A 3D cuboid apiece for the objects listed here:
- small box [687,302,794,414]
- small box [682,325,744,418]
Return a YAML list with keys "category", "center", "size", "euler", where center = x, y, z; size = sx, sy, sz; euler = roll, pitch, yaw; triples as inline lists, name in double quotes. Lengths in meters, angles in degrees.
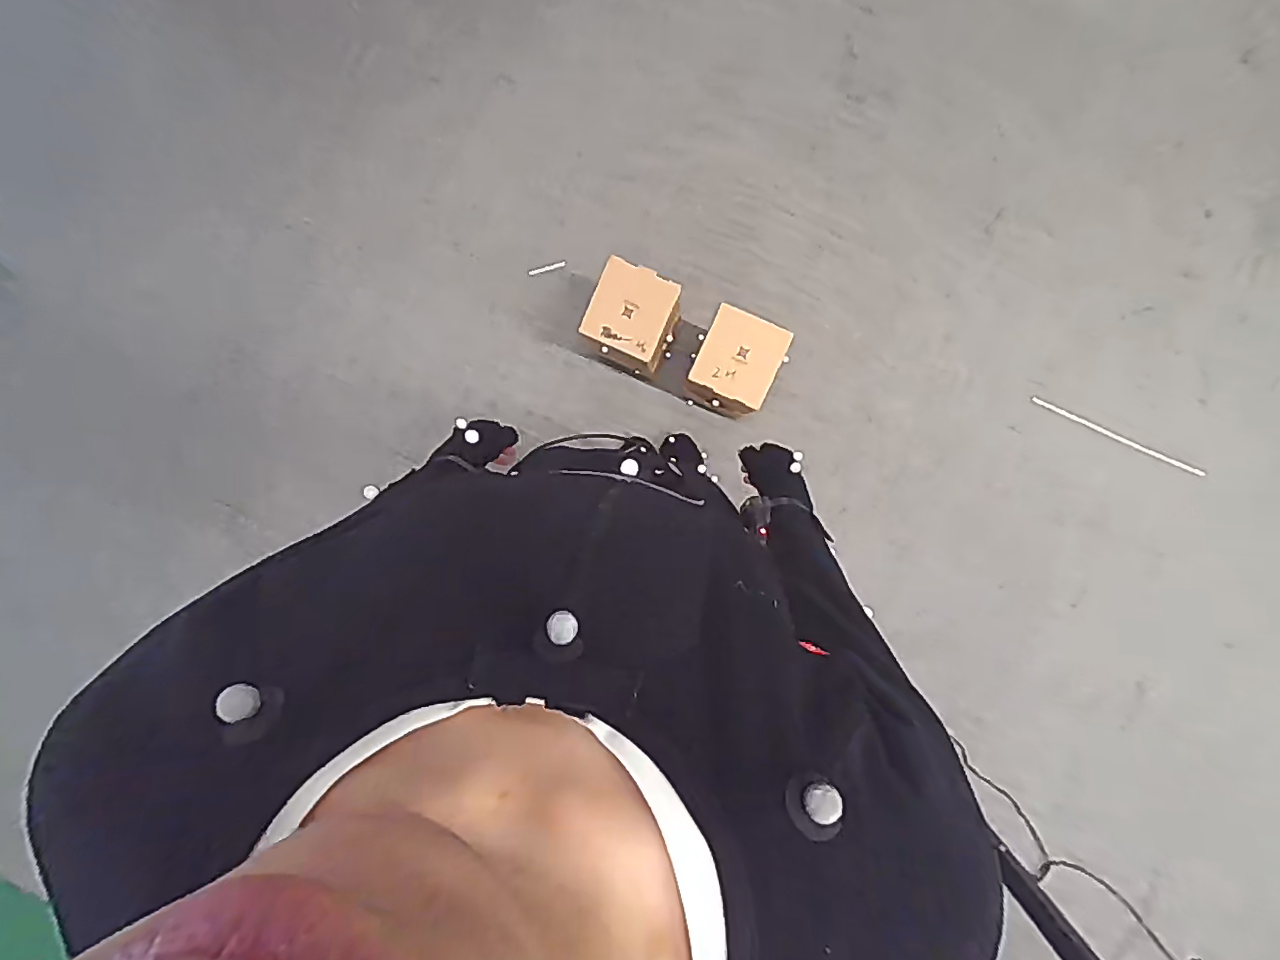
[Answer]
- category: "small box"
  center: [0.211, -0.261, 1.198]
  size: [0.168, 0.176, 0.179]
  euler: [25, 94, 1]
- category: "small box"
  center: [0.214, -0.266, 1.364]
  size: [0.168, 0.176, 0.179]
  euler: [24, 94, 0]
